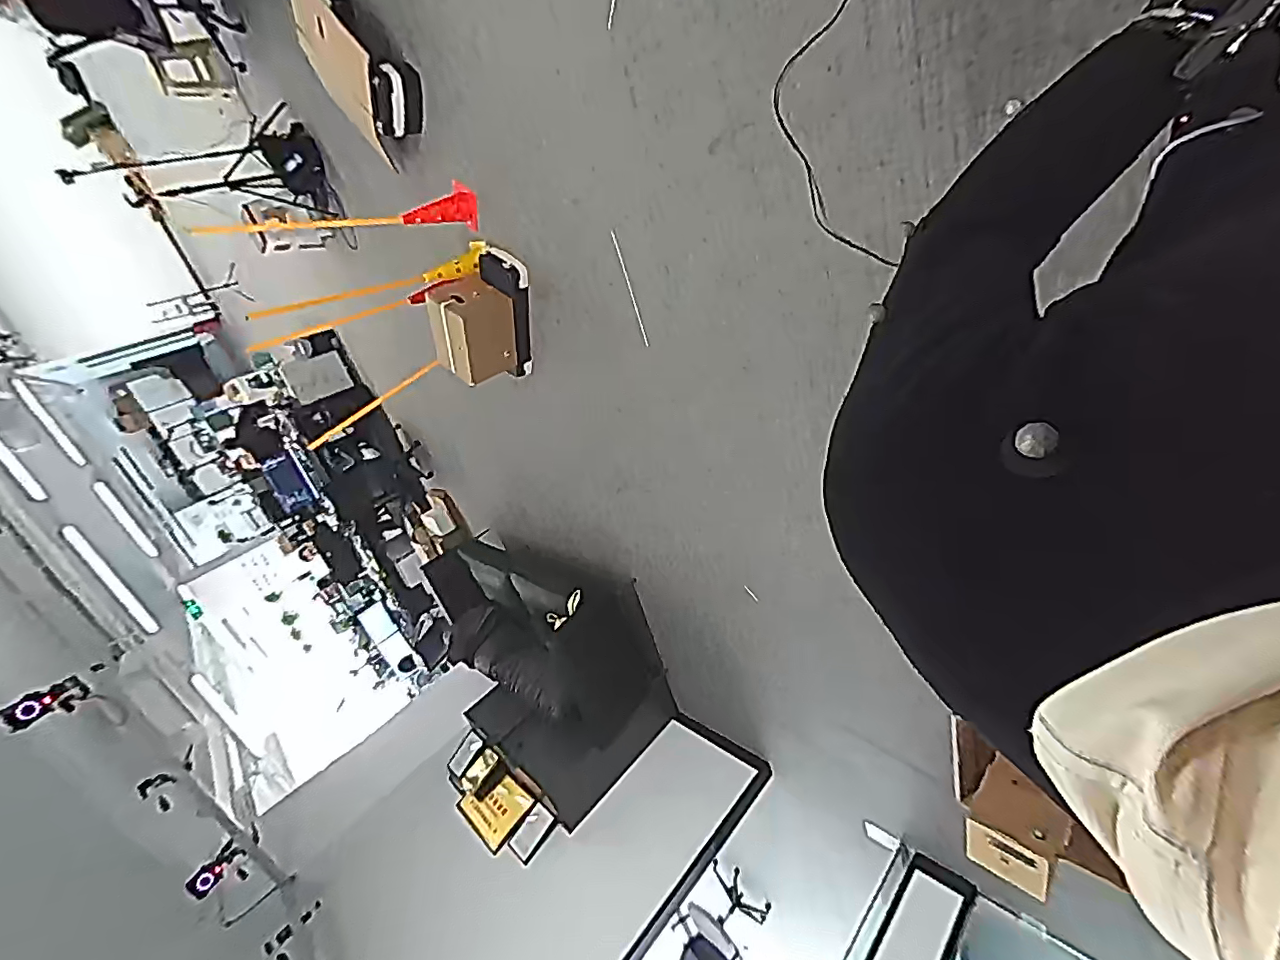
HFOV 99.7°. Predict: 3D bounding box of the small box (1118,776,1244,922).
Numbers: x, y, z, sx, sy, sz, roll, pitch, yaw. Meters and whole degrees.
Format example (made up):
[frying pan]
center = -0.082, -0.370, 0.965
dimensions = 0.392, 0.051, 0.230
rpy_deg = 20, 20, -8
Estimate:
[small box]
center = 1.205, 0.810, 1.206
dimensions = 0.179, 0.176, 0.168
rpy_deg = 12, 127, 49
